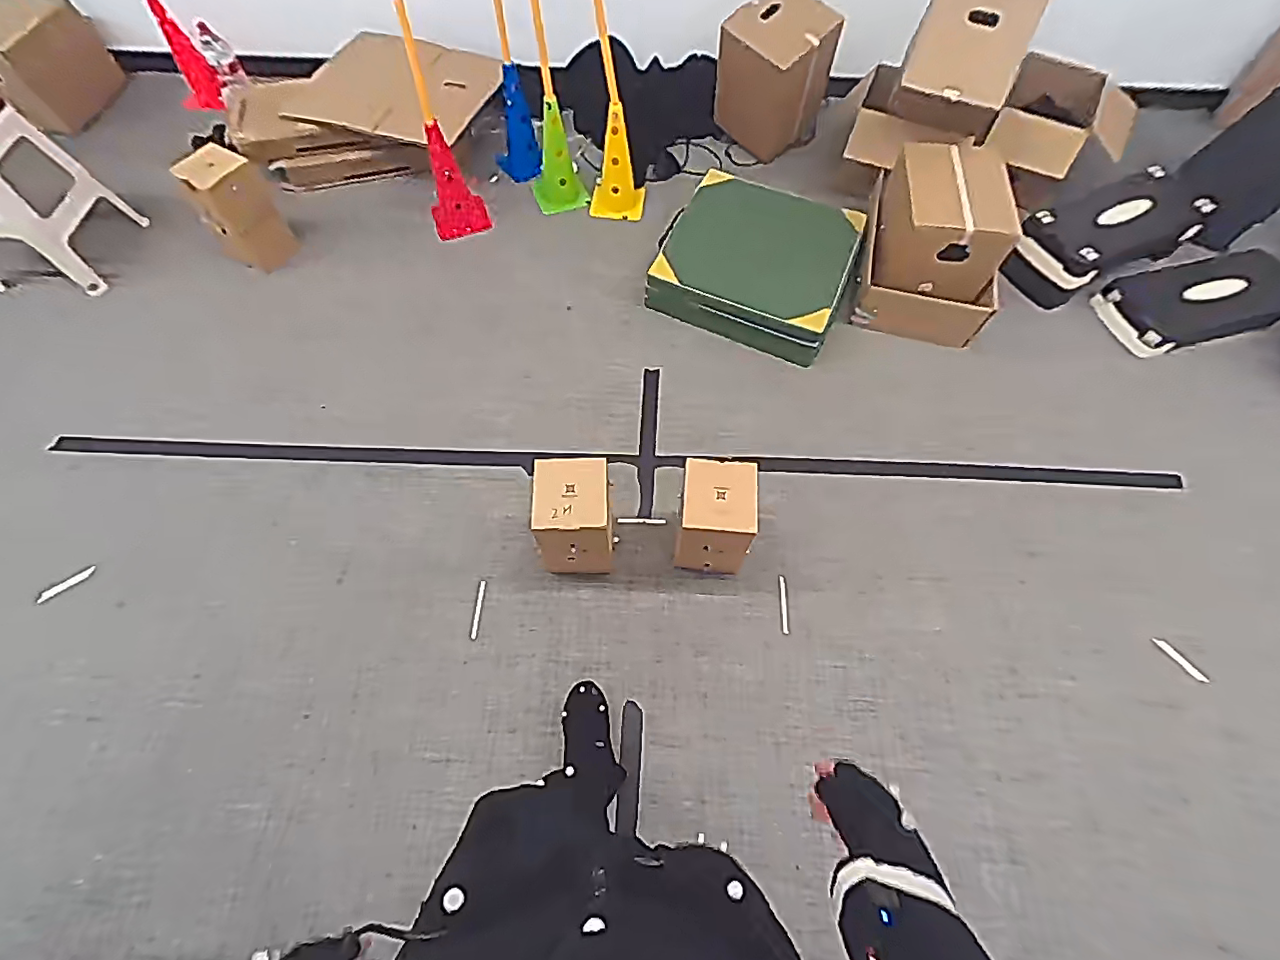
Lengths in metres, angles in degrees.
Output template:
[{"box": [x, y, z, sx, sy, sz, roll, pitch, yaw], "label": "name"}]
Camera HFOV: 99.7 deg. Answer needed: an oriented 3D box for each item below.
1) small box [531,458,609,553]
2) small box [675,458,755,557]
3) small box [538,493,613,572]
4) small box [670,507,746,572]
[{"box": [-0.159, 0.064, 1.281, 0.168, 0.176, 0.179, -1, 64, -1], "label": "small box"}, {"box": [0.176, 0.070, 1.290, 0.168, 0.176, 0.179, 6, 65, 2], "label": "small box"}, {"box": [-0.163, 0.140, 1.426, 0.179, 0.176, 0.168, 1, 64, -2], "label": "small box"}, {"box": [0.181, 0.138, 1.438, 0.179, 0.176, 0.168, 7, 63, 0], "label": "small box"}]
